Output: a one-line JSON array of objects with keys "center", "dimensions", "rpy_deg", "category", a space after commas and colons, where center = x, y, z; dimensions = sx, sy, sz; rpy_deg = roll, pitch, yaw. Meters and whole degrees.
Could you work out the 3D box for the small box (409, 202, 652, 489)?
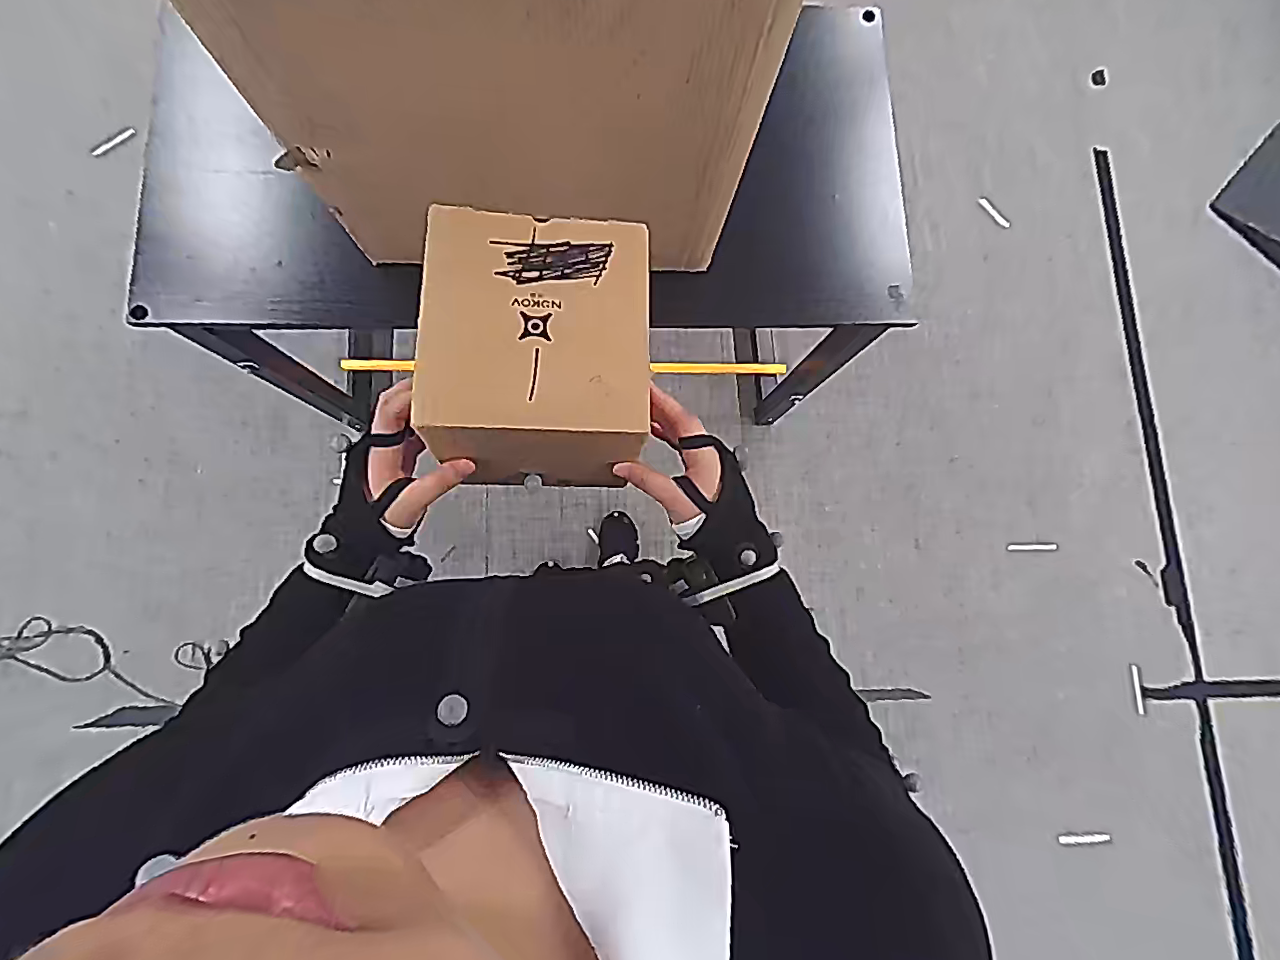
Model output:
[{"center": [-0.083, -0.099, 0.465], "dimensions": [0.168, 0.176, 0.179], "rpy_deg": [2, 76, -7], "category": "small box"}]
